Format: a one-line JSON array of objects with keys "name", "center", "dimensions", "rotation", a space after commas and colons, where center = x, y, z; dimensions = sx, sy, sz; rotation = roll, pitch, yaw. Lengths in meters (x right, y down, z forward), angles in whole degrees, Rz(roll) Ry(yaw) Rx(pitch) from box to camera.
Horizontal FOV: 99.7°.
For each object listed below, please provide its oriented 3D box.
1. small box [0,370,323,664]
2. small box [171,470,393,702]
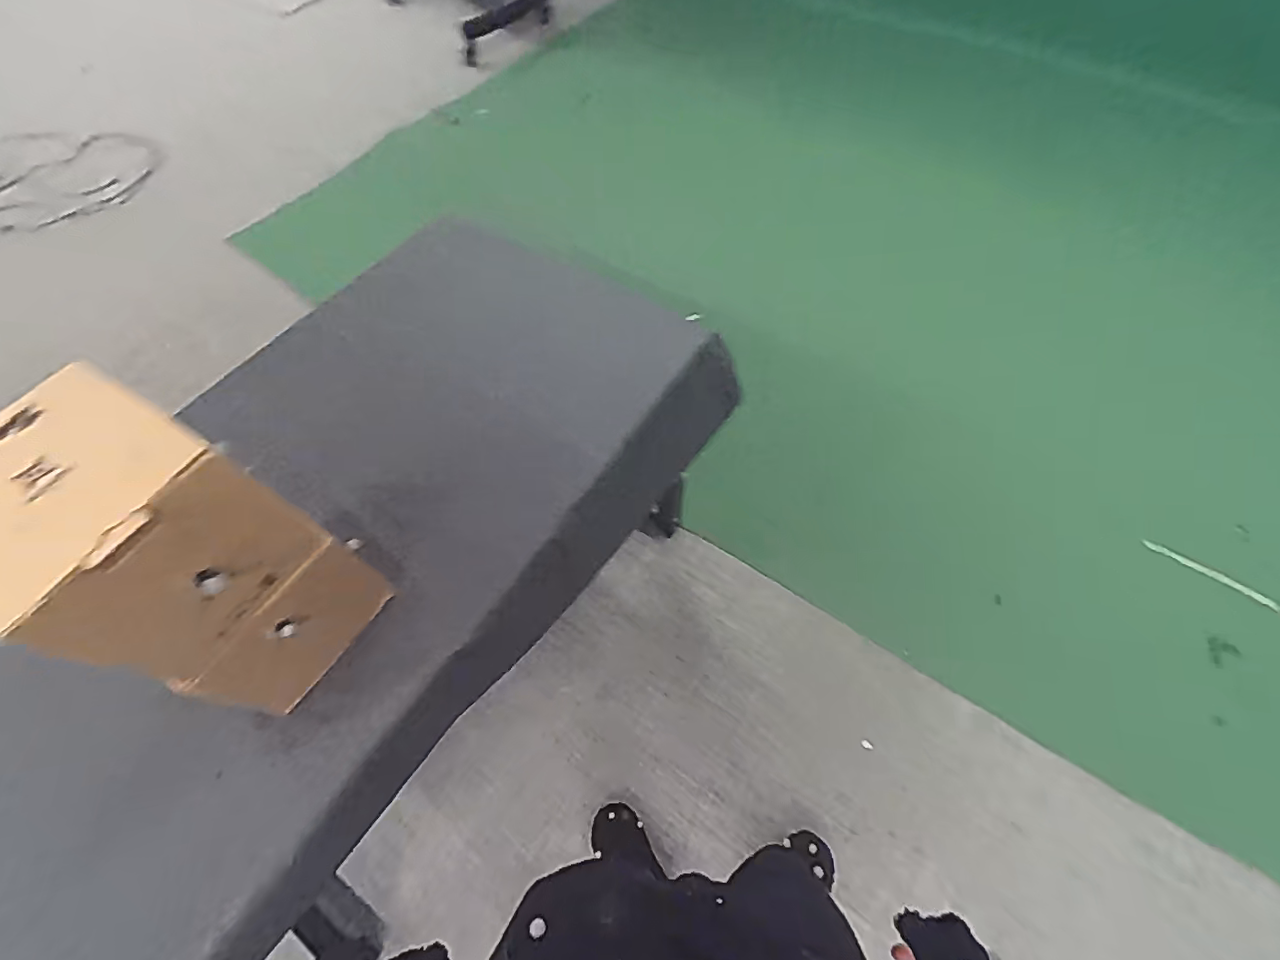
[{"name": "small box", "center": [-0.430, 0.043, 0.475], "dimensions": [0.179, 0.176, 0.168], "rotation": [27, 65, 14]}, {"name": "small box", "center": [-0.422, 0.126, 0.615], "dimensions": [0.168, 0.176, 0.179], "rotation": [28, 64, 15]}]
